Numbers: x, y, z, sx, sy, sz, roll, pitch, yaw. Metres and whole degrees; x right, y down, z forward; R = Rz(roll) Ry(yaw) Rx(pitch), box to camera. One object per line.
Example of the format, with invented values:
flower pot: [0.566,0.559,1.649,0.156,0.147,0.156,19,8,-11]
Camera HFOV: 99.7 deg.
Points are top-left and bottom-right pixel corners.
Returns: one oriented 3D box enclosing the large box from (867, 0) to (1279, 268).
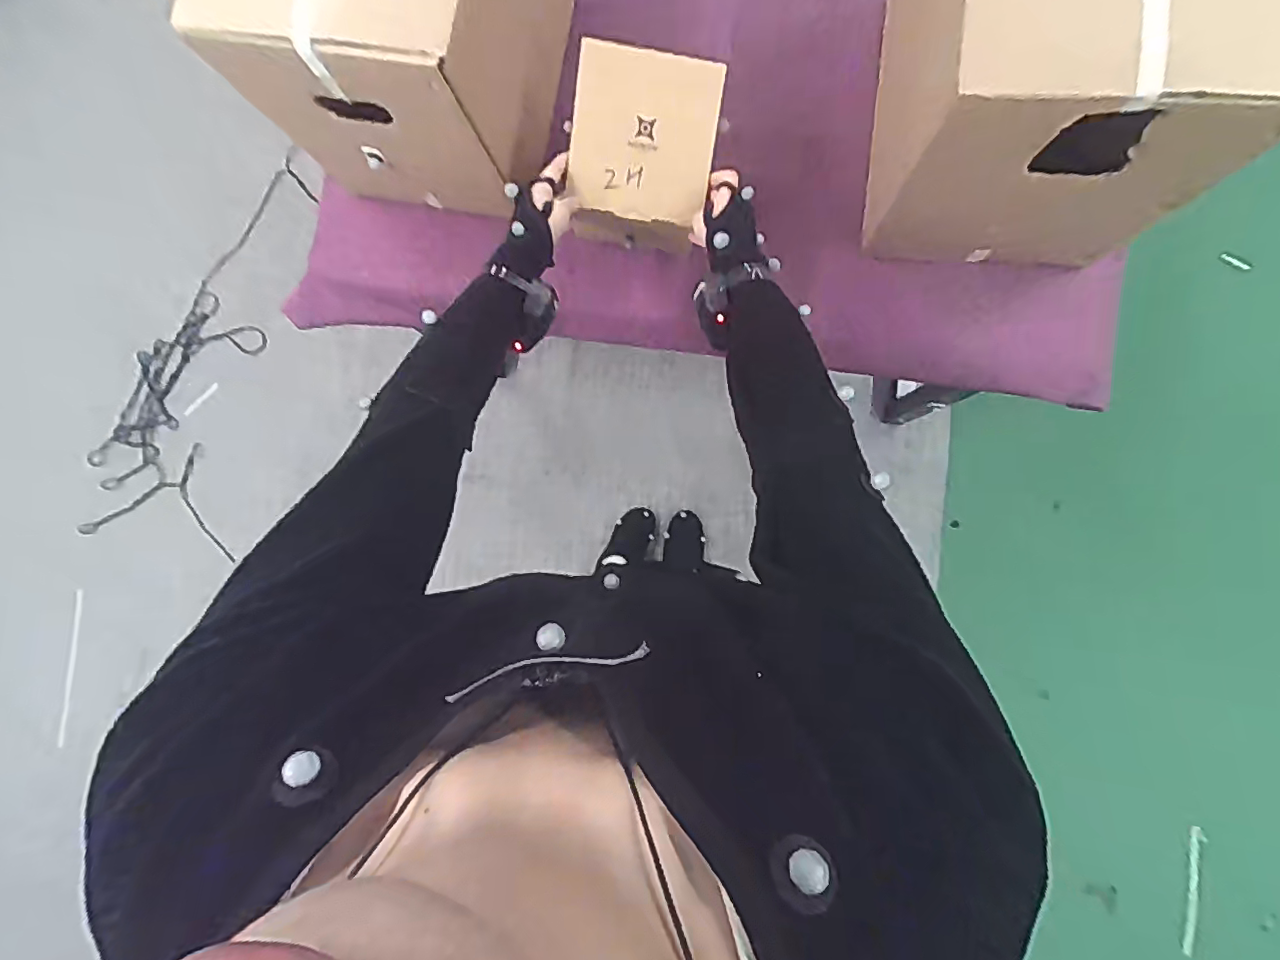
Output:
large box: [0.482,-0.517,0.639,0.320,0.320,0.408,6,88,8]

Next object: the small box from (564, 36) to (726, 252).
small box: [0.002,-0.412,0.695,0.168,0.176,0.179,9,103,-3]
